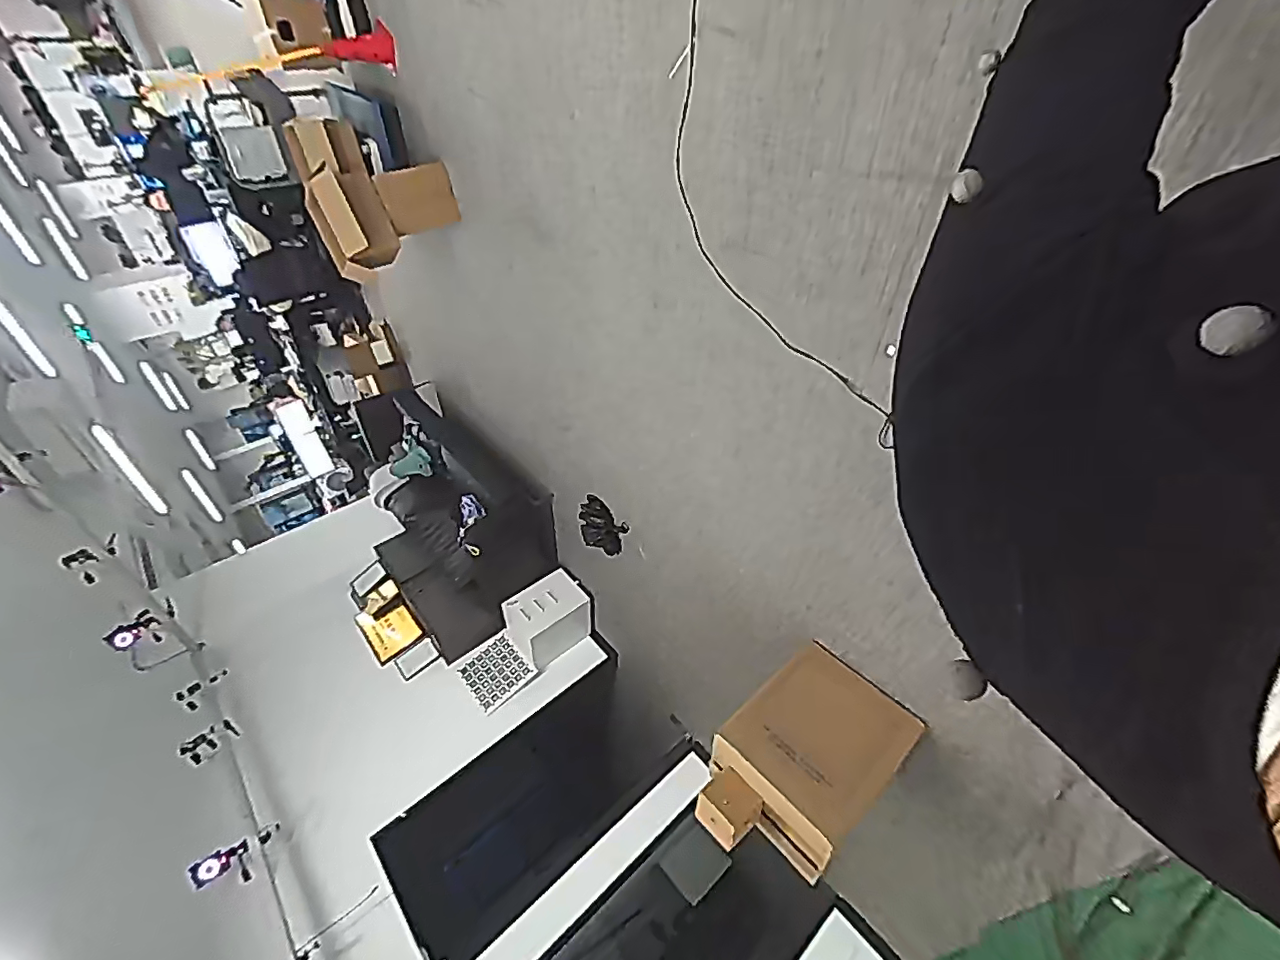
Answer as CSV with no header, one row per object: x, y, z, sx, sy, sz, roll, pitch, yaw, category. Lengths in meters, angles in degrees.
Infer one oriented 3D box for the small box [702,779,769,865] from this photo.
0.356,1.268,2.017,0.179,0.176,0.168,32,130,41,small box
